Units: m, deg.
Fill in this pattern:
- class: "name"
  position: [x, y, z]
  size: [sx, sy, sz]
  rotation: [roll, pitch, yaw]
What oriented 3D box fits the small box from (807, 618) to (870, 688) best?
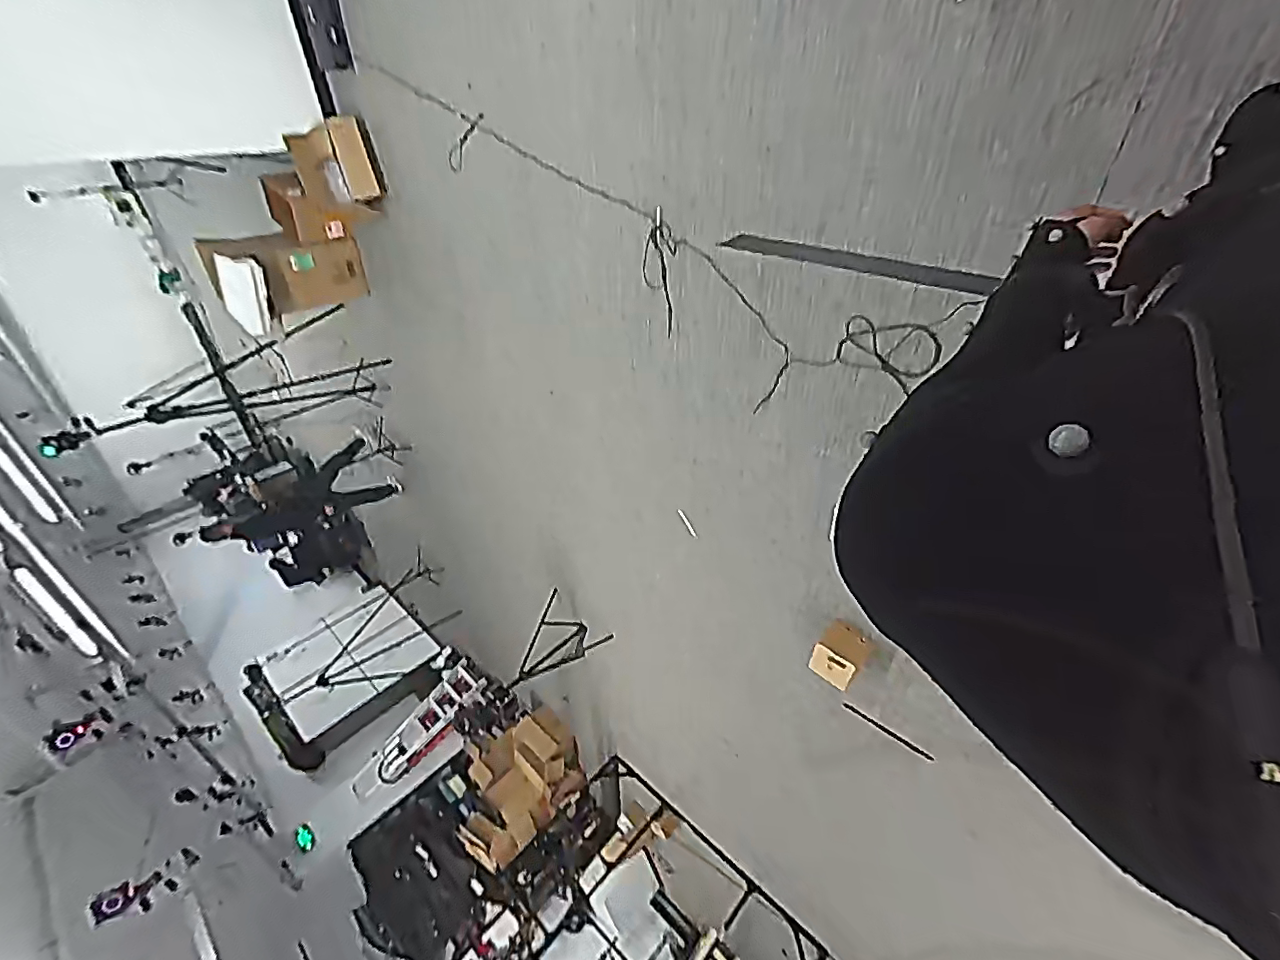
- class: "small box"
  position: [0.810, 0.699, 2.200]
  size: [0.168, 0.176, 0.179]
  rotation: [31, 137, 32]
